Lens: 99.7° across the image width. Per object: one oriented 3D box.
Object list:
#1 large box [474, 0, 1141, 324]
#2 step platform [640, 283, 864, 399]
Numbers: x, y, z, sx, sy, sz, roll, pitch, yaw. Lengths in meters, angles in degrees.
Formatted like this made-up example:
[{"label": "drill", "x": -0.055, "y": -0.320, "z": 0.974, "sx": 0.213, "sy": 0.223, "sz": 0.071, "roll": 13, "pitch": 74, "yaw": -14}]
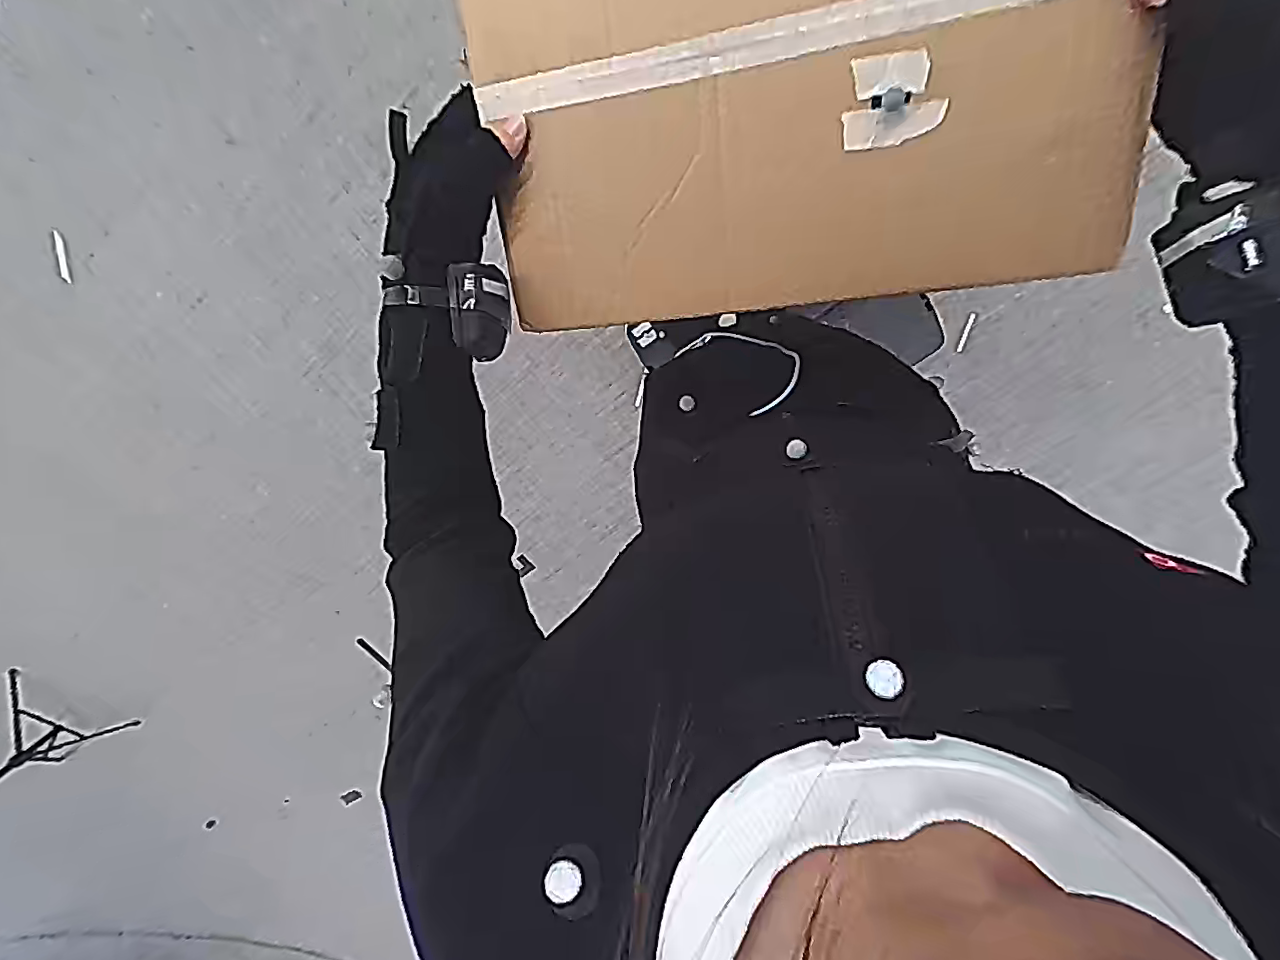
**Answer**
[{"label": "large box", "x": 0.115, "y": -0.330, "z": 0.479, "sx": 0.408, "sy": 0.320, "sz": 0.320, "roll": -3, "pitch": 110, "yaw": 13}, {"label": "step platform", "x": 0.329, "y": -0.512, "z": 1.376, "sx": 0.684, "sy": 0.204, "sz": 0.286, "roll": -37, "pitch": 107, "yaw": 16}]
